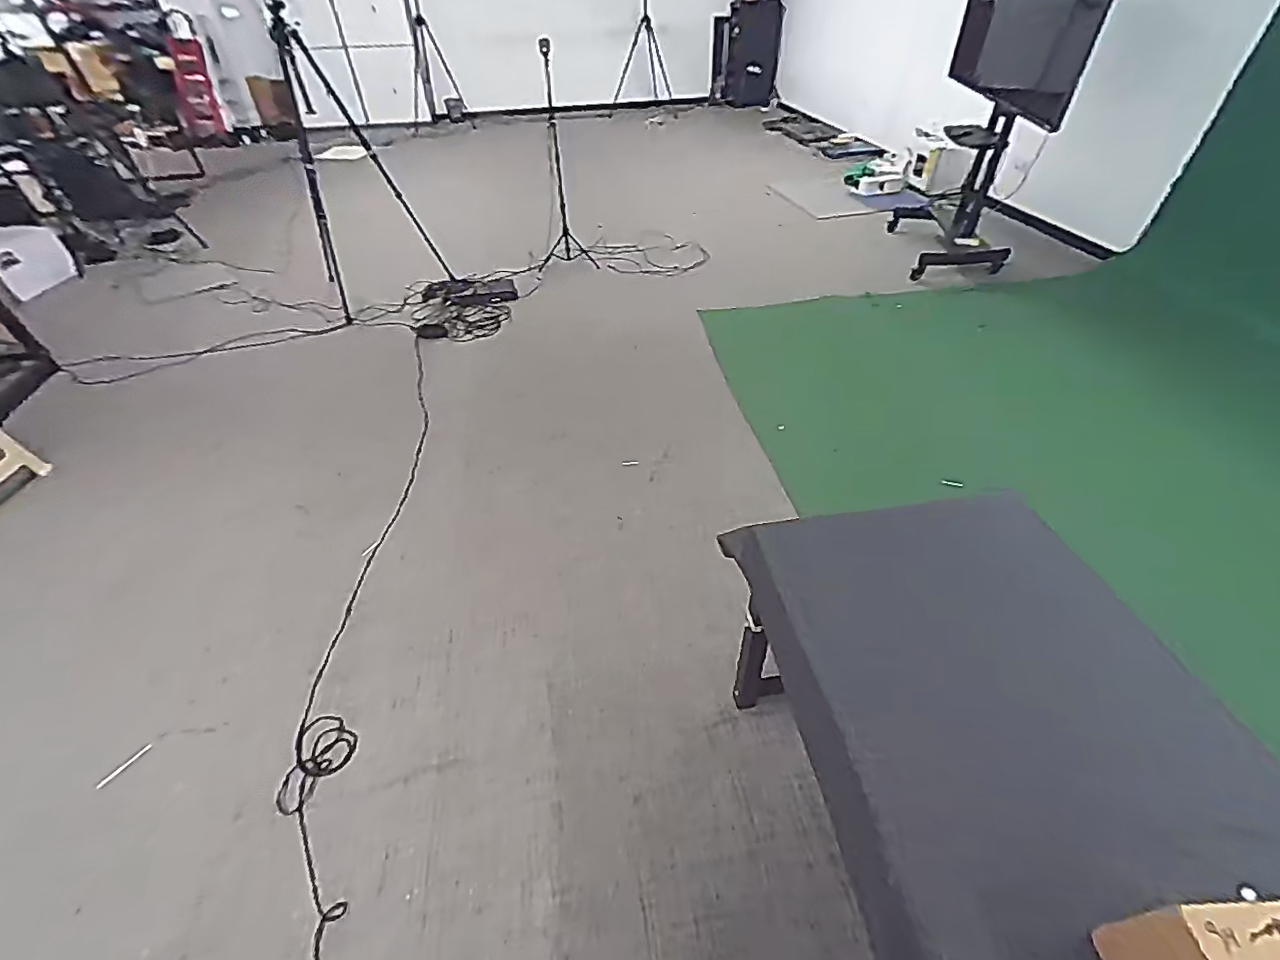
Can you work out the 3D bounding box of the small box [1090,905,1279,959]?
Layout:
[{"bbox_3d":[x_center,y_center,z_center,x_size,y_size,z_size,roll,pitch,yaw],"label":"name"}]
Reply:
[{"bbox_3d":[0.620,0.548,0.541,0.168,0.176,0.179,-2,44,0],"label":"small box"}]
